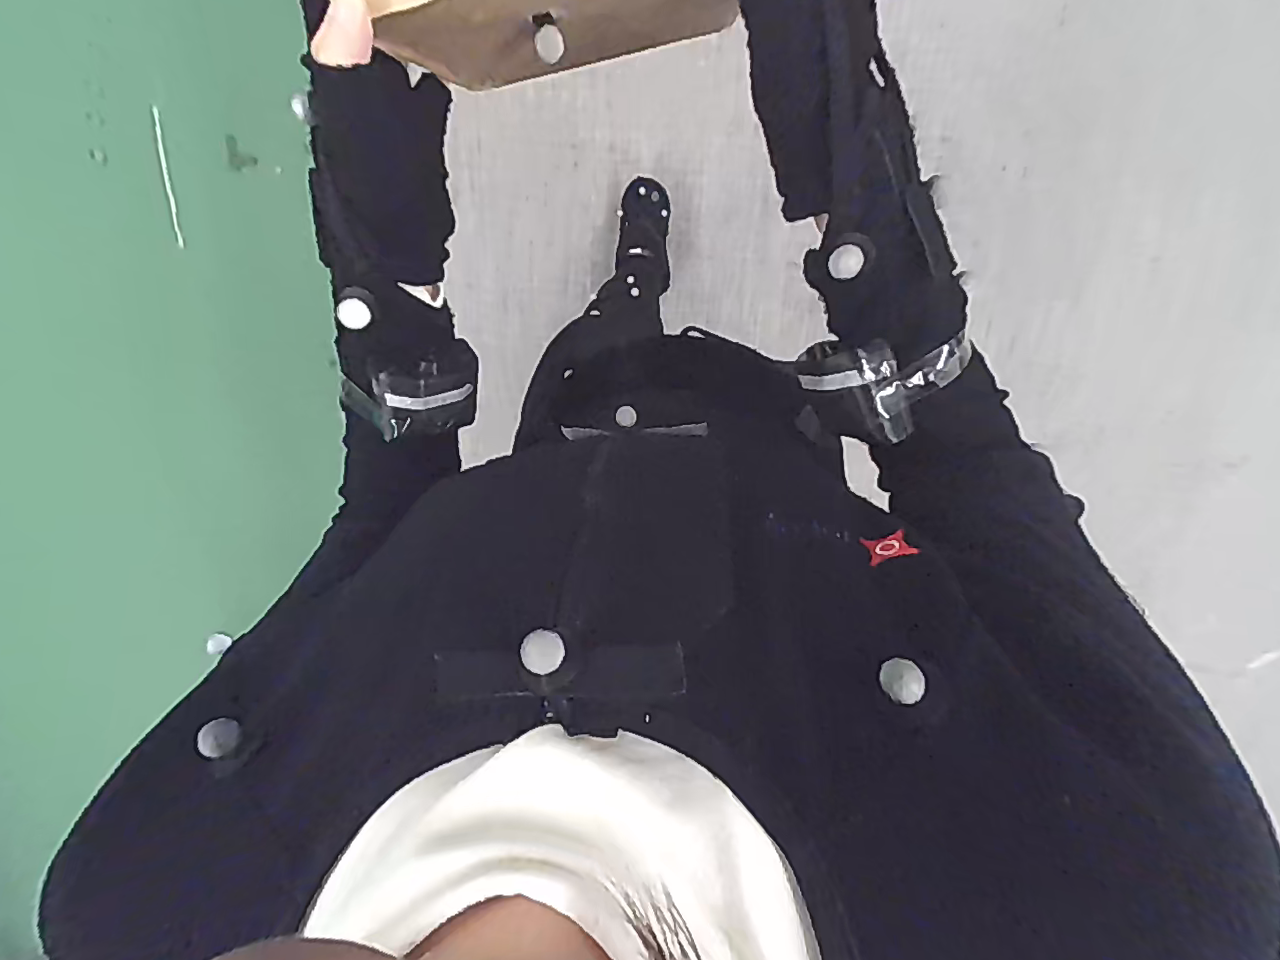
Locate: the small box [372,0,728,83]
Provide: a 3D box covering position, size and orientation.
[{"bbox_3d":[-0.043,-0.311,0.243,0.179,0.176,0.168,-11,115,8],"label":"small box"}]

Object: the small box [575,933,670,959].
[{"bbox_3d":[-0.040,0.913,0.909,0.168,0.176,0.179,5,110,6],"label":"small box"}]
